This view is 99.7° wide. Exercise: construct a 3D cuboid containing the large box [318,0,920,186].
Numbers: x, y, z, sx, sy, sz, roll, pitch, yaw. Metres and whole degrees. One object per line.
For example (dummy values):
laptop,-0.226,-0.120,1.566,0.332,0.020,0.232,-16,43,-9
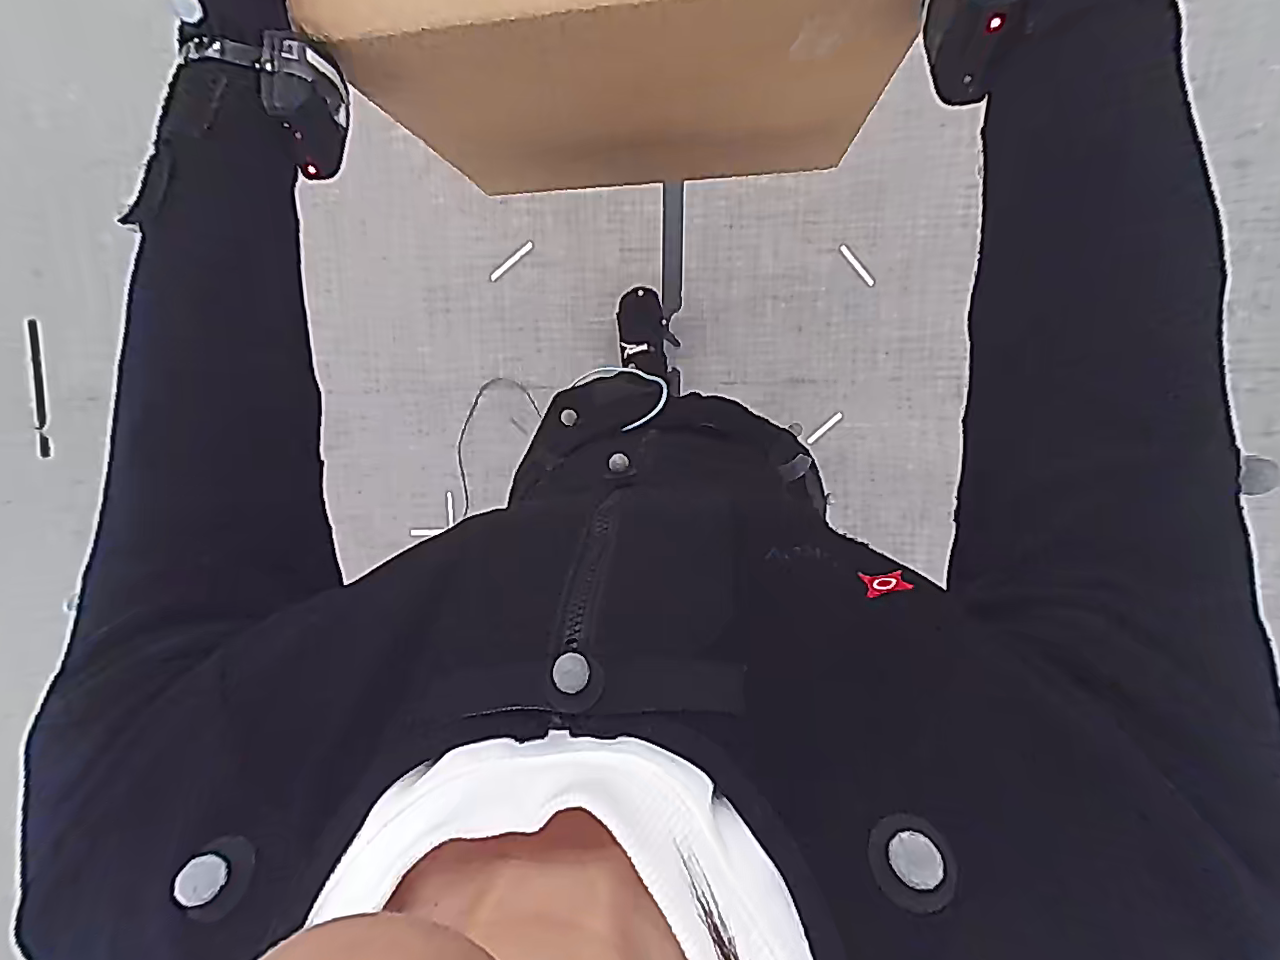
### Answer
large box,-0.005,-0.476,0.449,0.408,0.320,0.320,-1,101,6
